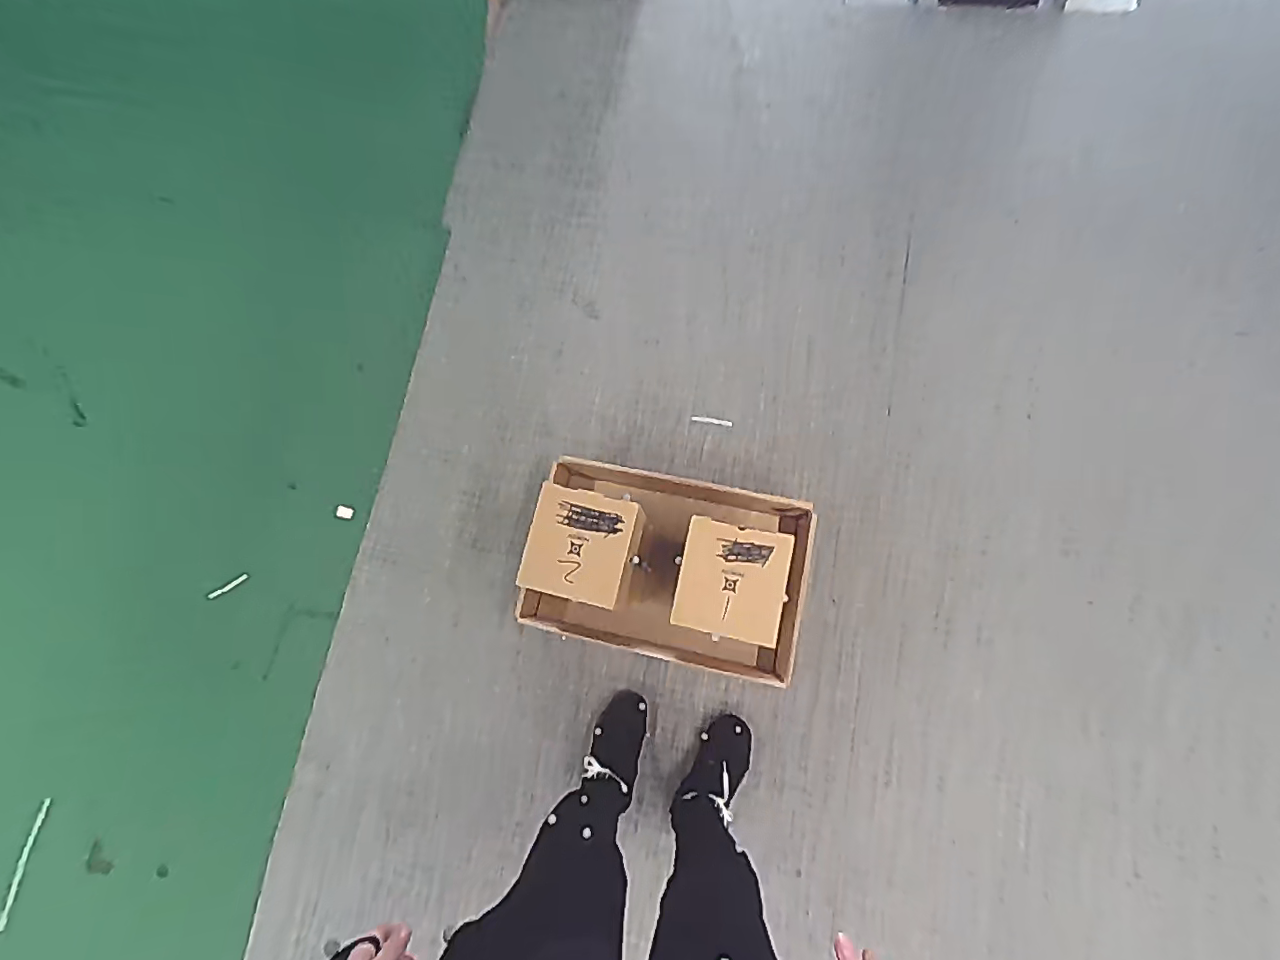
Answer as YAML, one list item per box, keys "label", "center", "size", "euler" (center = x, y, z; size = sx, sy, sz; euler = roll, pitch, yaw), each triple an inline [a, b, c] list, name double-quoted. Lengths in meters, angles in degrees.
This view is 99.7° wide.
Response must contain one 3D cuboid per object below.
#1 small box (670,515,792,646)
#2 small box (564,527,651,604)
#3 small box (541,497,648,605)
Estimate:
- label: "small box"
  center: [0.152, 0.172, 0.932]
  size: [0.168, 0.176, 0.179]
  euler: [11, 80, 9]
- label: "small box"
  center: [-0.069, 0.188, 1.280]
  size: [0.168, 0.176, 0.179]
  euler: [10, 80, 5]
- label: "small box"
  center: [-0.084, 0.151, 1.120]
  size: [0.168, 0.176, 0.179]
  euler: [15, 79, 8]
